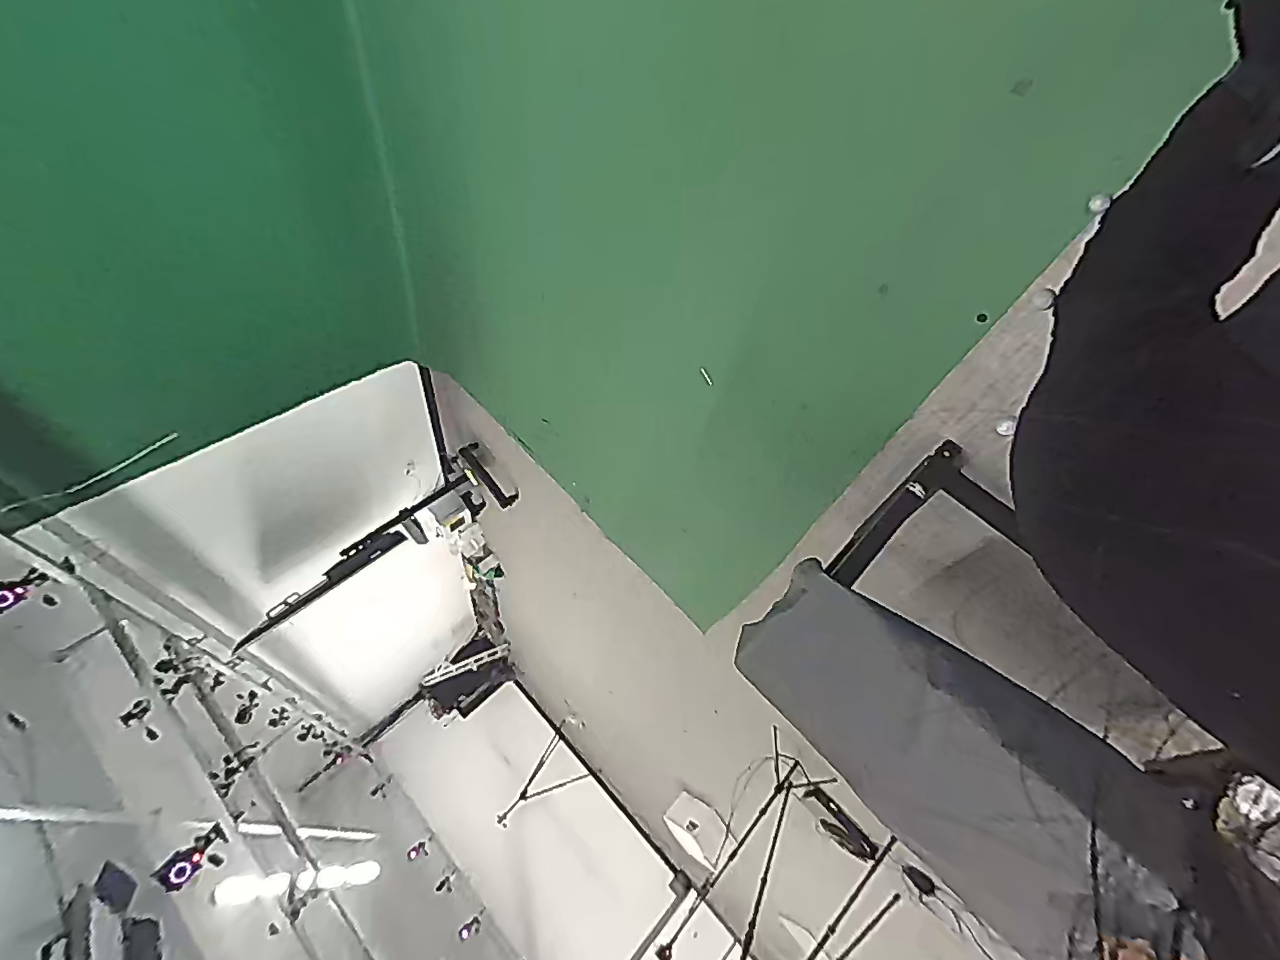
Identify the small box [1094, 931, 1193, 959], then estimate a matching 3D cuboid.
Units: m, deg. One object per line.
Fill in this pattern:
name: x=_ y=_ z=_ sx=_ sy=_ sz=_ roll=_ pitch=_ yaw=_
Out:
small box: x=1.013 y=1.026 z=1.041 sx=0.179 sy=0.176 sz=0.168 roll=44 pitch=149 yaw=15
